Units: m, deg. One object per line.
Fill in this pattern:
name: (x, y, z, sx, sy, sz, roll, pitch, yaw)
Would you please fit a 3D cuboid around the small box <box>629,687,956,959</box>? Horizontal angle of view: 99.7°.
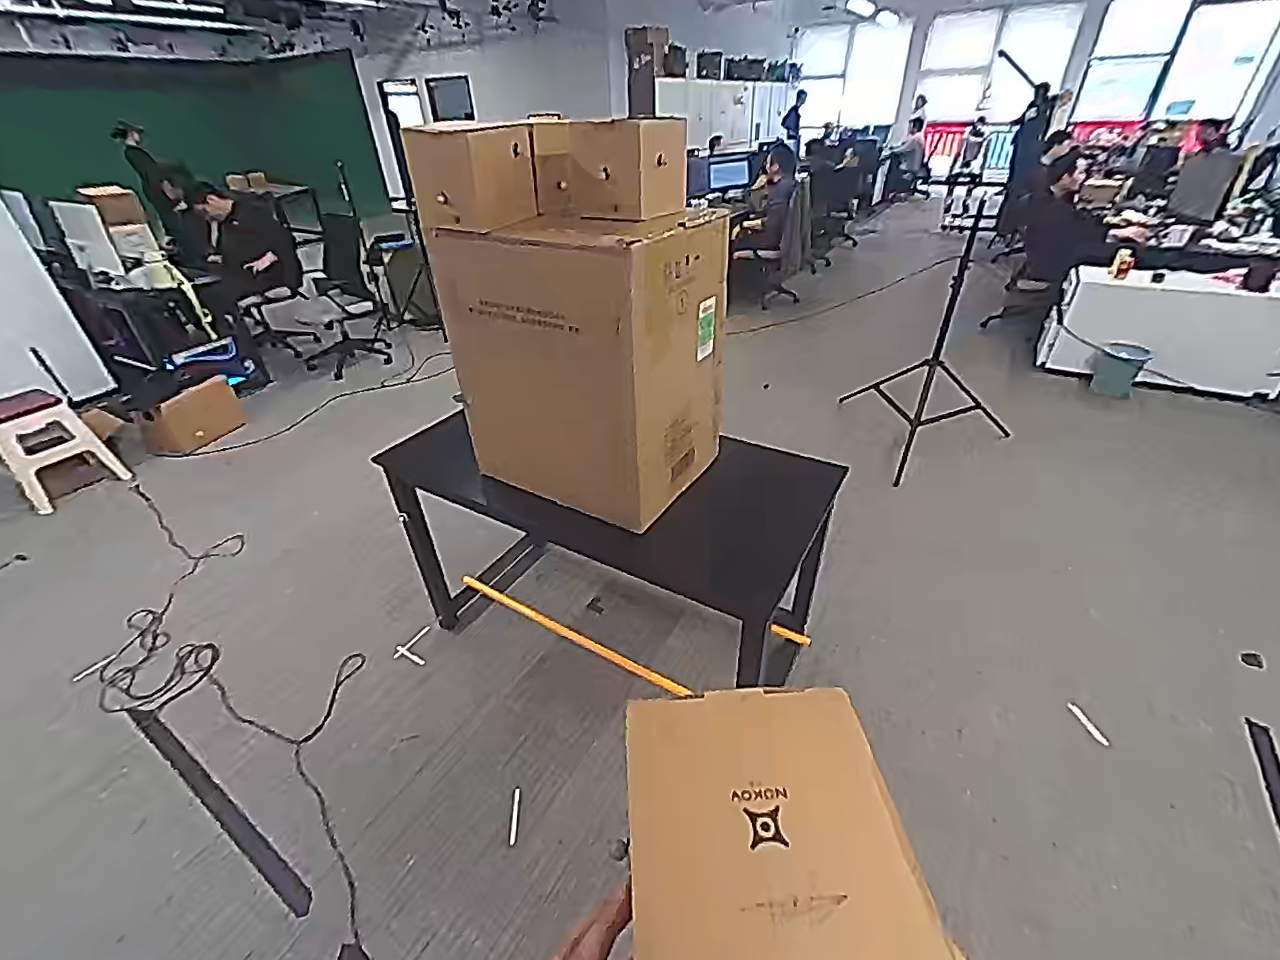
small box: (0.076, 0.271, 0.374, 0.168, 0.176, 0.179, -3, 36, -2)
